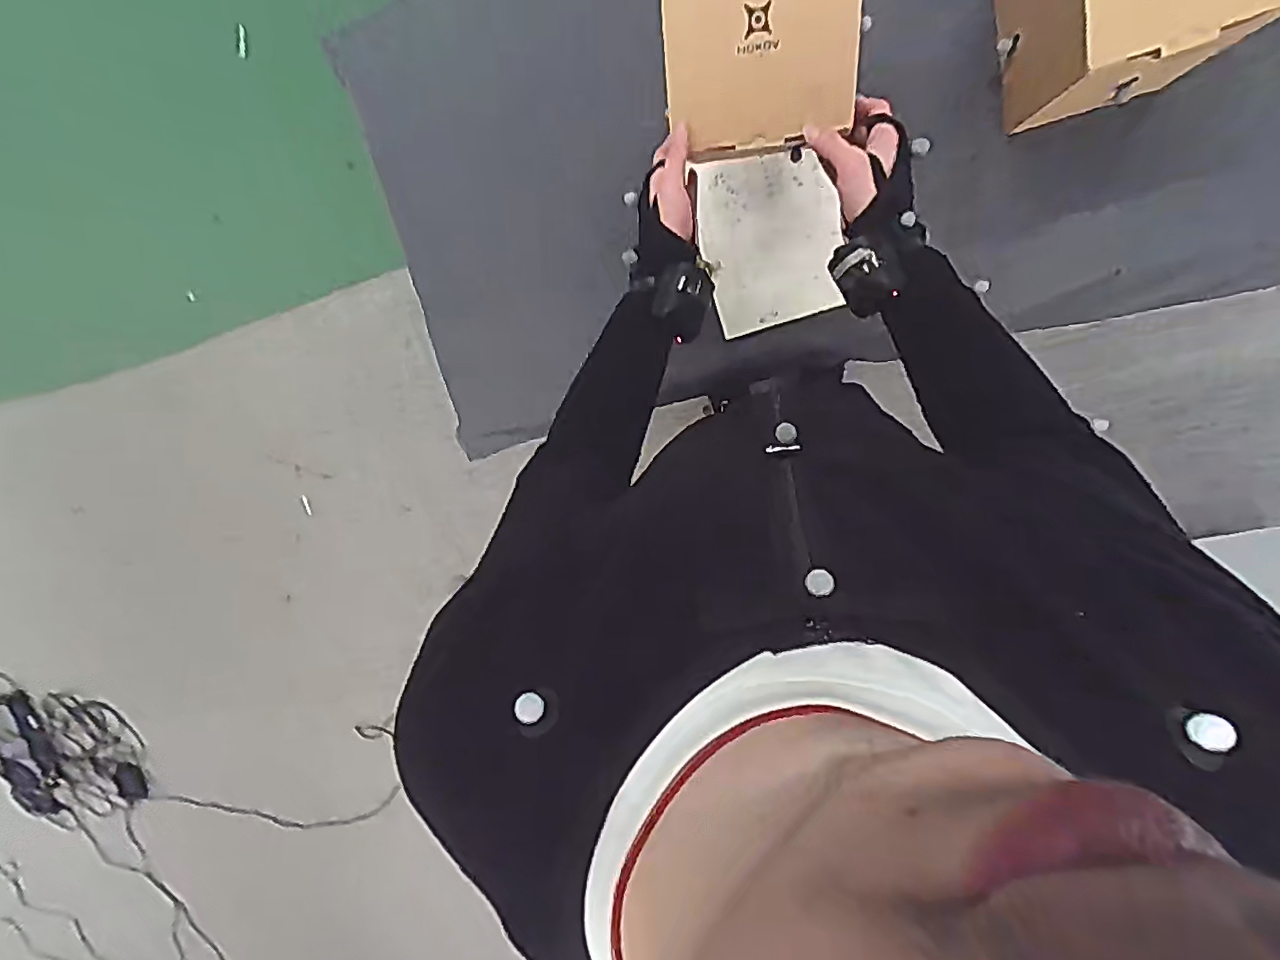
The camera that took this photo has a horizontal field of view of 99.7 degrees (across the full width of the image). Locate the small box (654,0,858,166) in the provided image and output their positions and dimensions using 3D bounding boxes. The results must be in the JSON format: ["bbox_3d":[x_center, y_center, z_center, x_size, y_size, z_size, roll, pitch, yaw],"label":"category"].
[{"bbox_3d":[0.111,-0.411,0.517,0.168,0.176,0.179,-2,117,13],"label":"small box"}]

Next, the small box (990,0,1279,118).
[{"bbox_3d":[0.489,-0.506,0.556,0.168,0.176,0.179,-12,104,12],"label":"small box"}]
